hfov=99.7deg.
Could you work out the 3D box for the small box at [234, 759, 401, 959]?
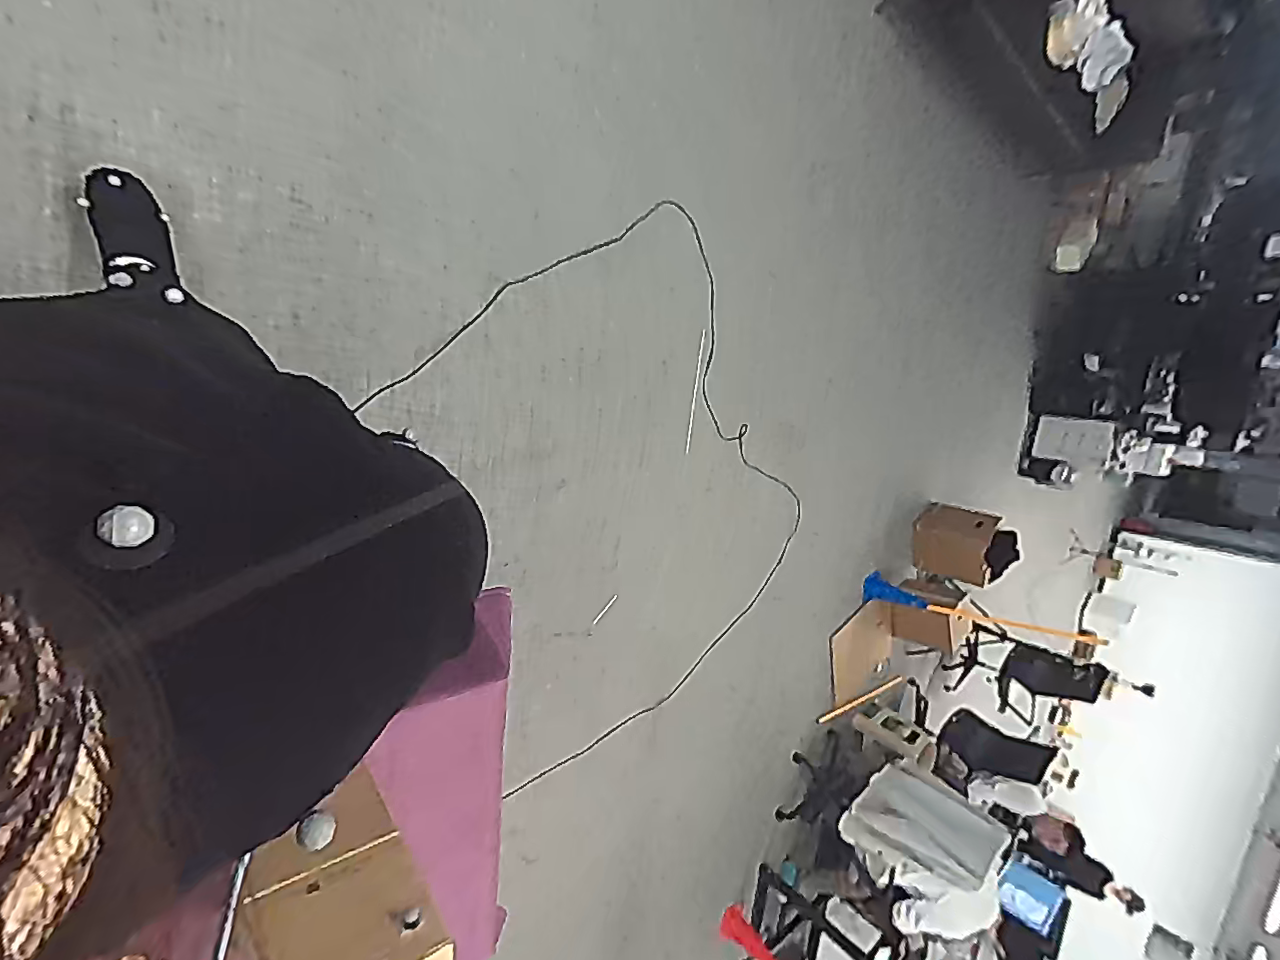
[{"bbox_3d":[-0.435,0.521,0.725,0.168,0.176,0.179,-3,103,-41],"label":"small box"}]
